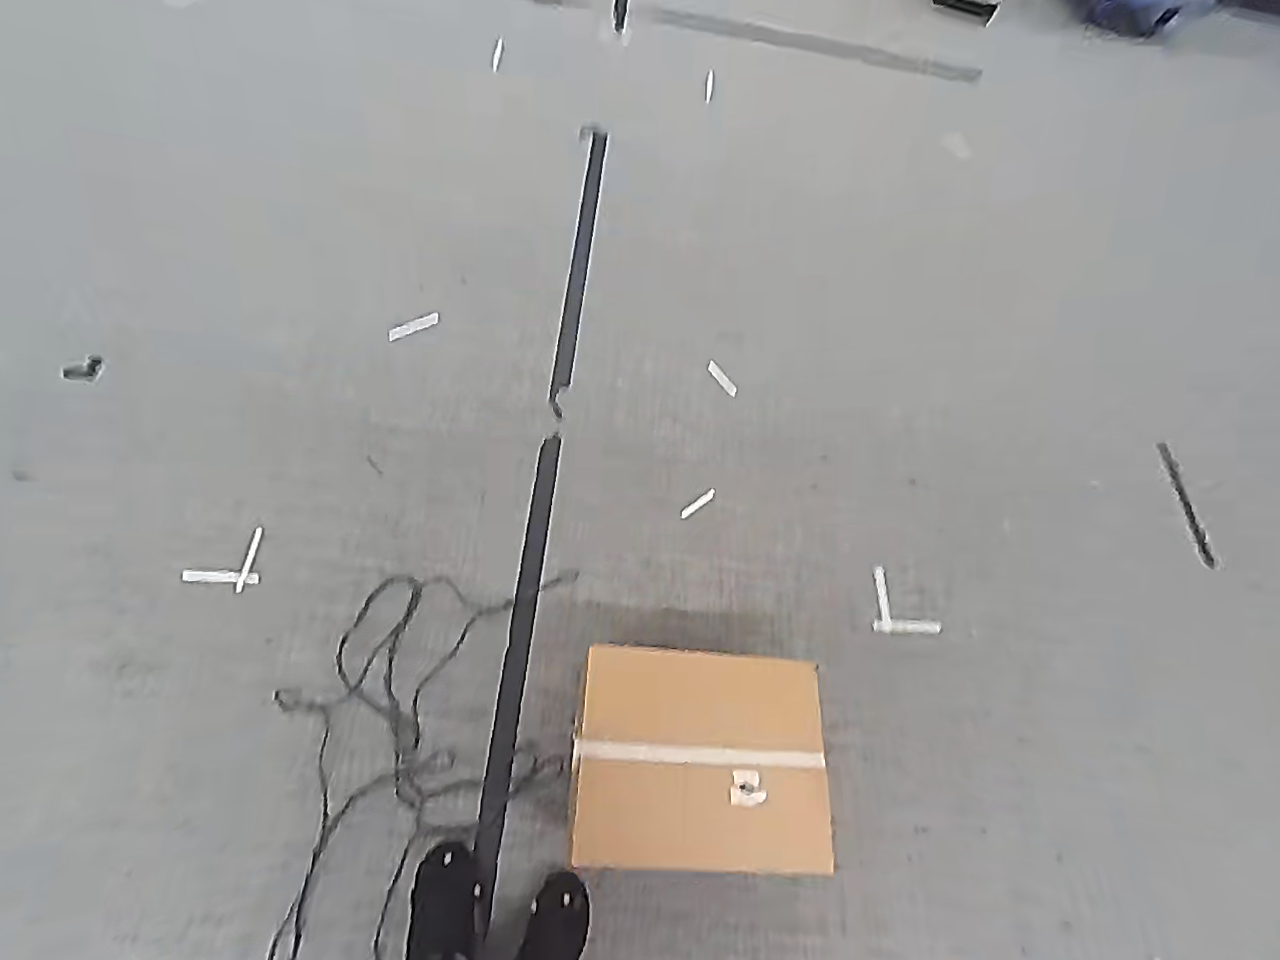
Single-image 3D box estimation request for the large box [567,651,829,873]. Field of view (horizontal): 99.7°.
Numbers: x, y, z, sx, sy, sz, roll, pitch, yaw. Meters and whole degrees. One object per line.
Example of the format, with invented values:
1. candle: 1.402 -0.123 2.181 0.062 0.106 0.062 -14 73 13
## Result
1. large box: 0.079 0.510 1.006 0.408 0.320 0.320 6 65 -7
